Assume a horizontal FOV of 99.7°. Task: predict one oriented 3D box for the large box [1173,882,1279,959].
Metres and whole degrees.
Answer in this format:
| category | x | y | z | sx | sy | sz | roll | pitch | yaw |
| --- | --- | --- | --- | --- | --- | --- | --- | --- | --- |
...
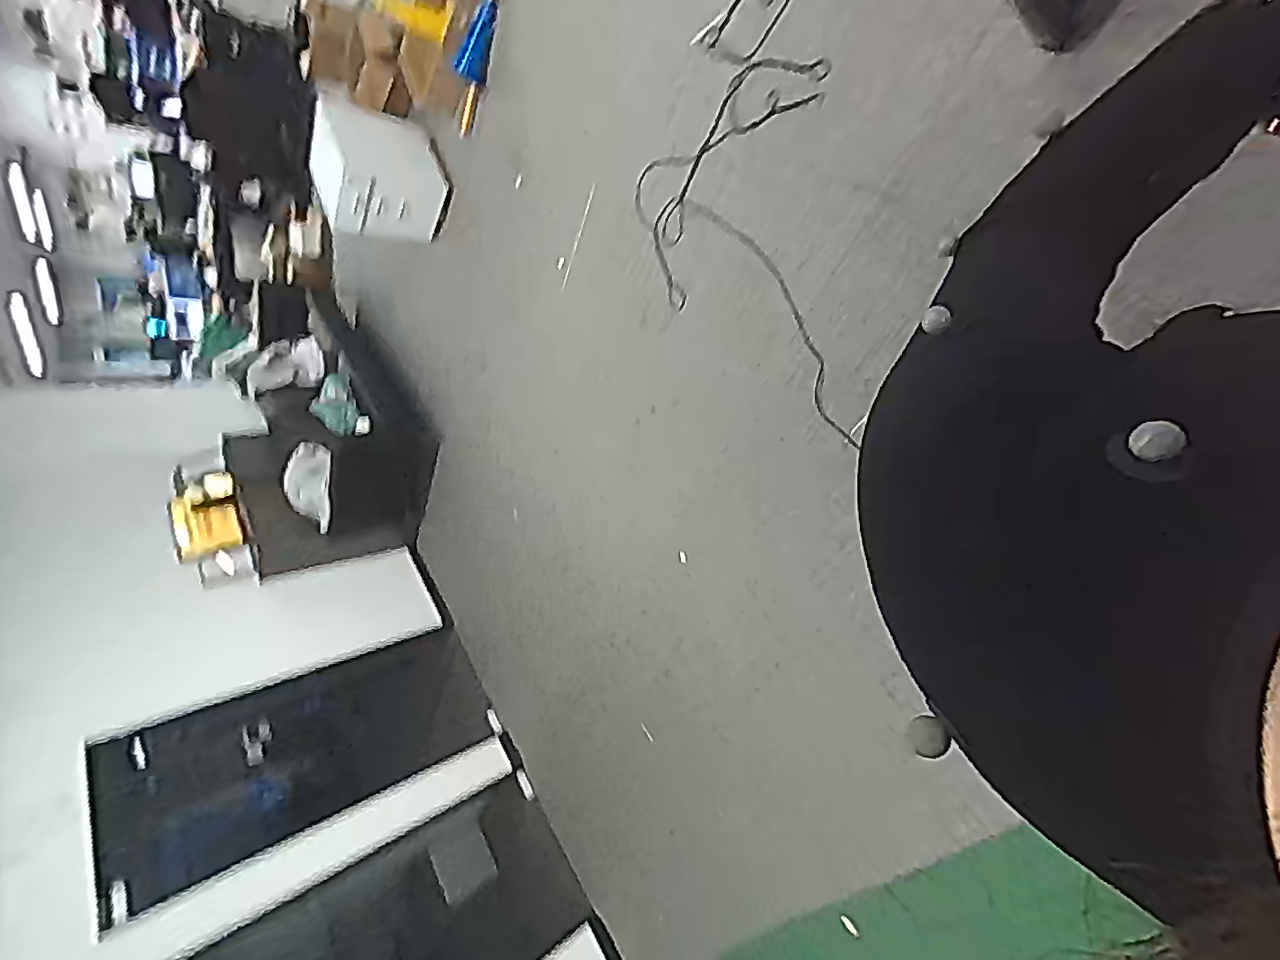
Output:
| category | x | y | z | sx | sy | sz | roll | pitch | yaw |
| --- | --- | --- | --- | --- | --- | --- | --- | --- | --- |
| large box | 1.237 | 0.928 | 0.908 | 0.320 | 0.320 | 0.408 | 53 | 133 | 27 |
